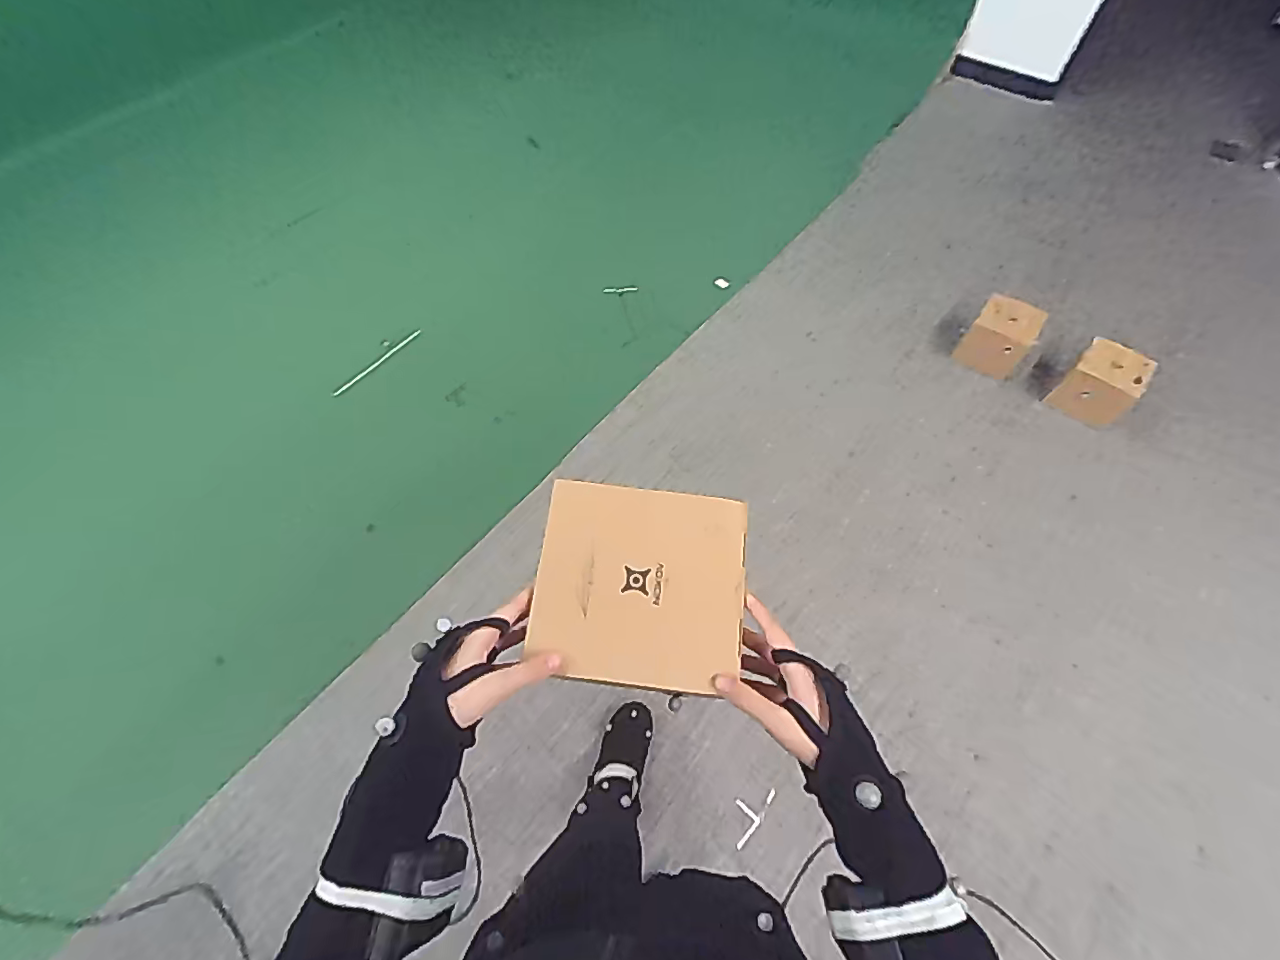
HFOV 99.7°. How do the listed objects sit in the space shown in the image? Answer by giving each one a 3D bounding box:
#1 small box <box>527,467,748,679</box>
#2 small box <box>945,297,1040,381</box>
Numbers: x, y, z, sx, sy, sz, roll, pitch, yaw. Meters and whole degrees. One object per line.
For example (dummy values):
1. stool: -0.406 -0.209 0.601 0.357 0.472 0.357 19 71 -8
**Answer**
1. small box: 0.001 0.103 0.544 0.179 0.176 0.168 7 67 2
2. small box: 1.138 -0.451 1.757 0.179 0.176 0.168 32 67 19
